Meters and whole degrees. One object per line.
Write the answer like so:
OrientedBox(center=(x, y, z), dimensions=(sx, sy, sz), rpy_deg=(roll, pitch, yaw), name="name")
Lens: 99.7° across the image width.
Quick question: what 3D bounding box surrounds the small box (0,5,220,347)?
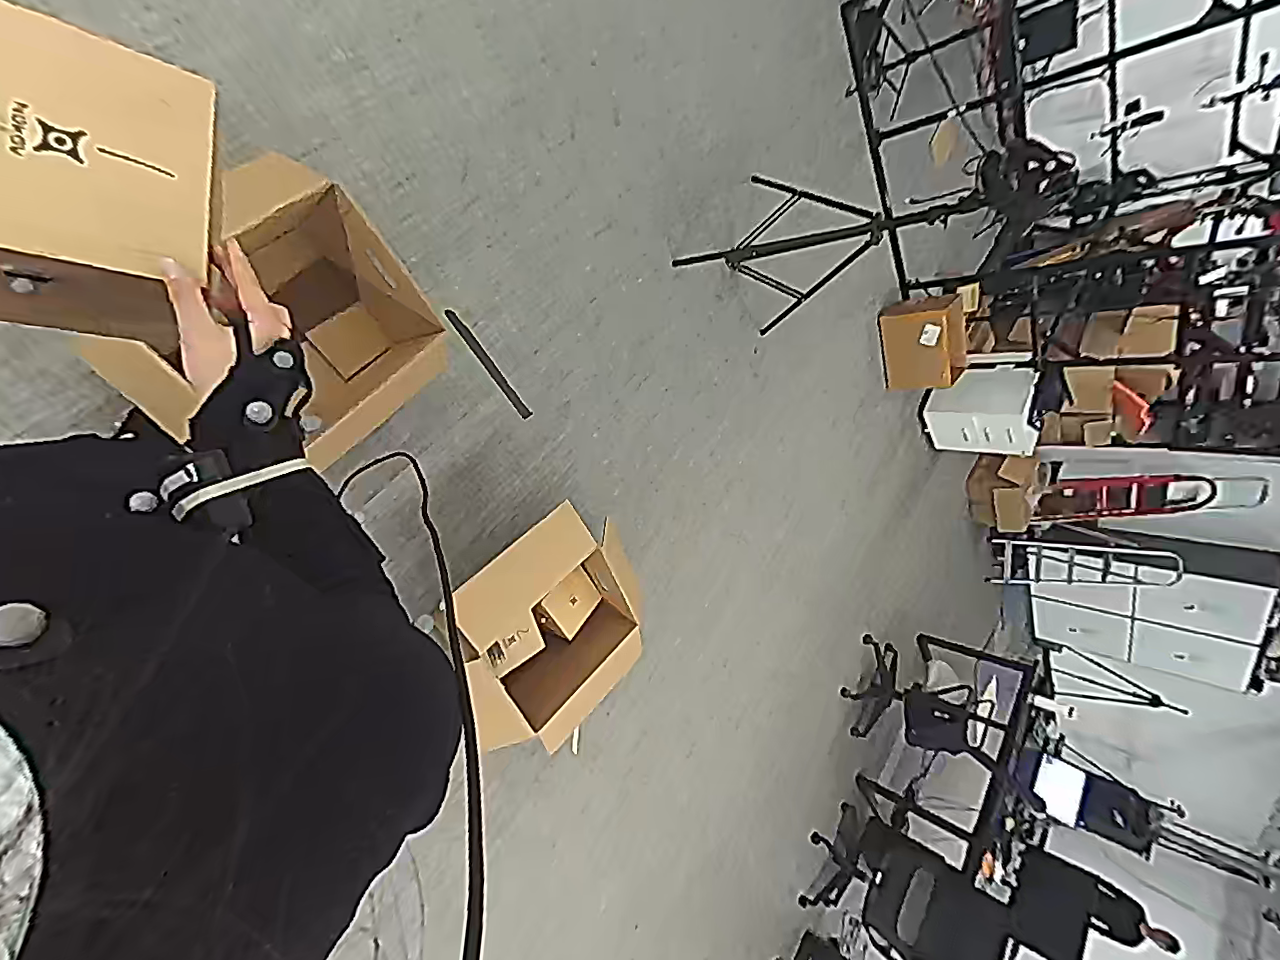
OrientedBox(center=(-0.438, -0.214, 0.414), dimensions=(0.179, 0.176, 0.168), rpy_deg=(3, 84, -38), name="small box")
